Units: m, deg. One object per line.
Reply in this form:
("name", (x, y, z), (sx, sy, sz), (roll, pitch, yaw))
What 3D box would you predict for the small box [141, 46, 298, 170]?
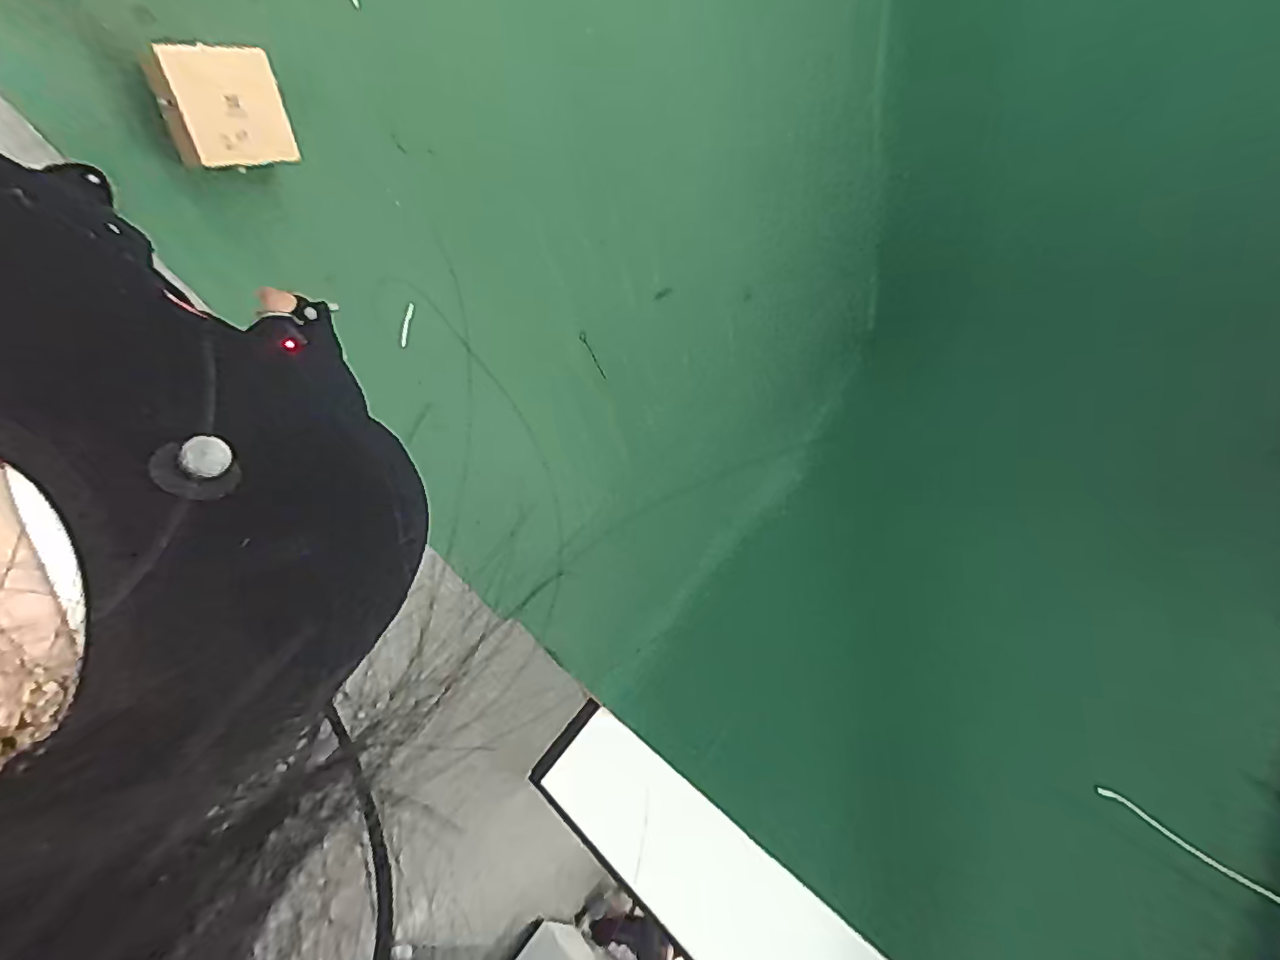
("small box", (-0.786, -0.686, 1.012), (0.168, 0.176, 0.179), (-31, 132, -35))
